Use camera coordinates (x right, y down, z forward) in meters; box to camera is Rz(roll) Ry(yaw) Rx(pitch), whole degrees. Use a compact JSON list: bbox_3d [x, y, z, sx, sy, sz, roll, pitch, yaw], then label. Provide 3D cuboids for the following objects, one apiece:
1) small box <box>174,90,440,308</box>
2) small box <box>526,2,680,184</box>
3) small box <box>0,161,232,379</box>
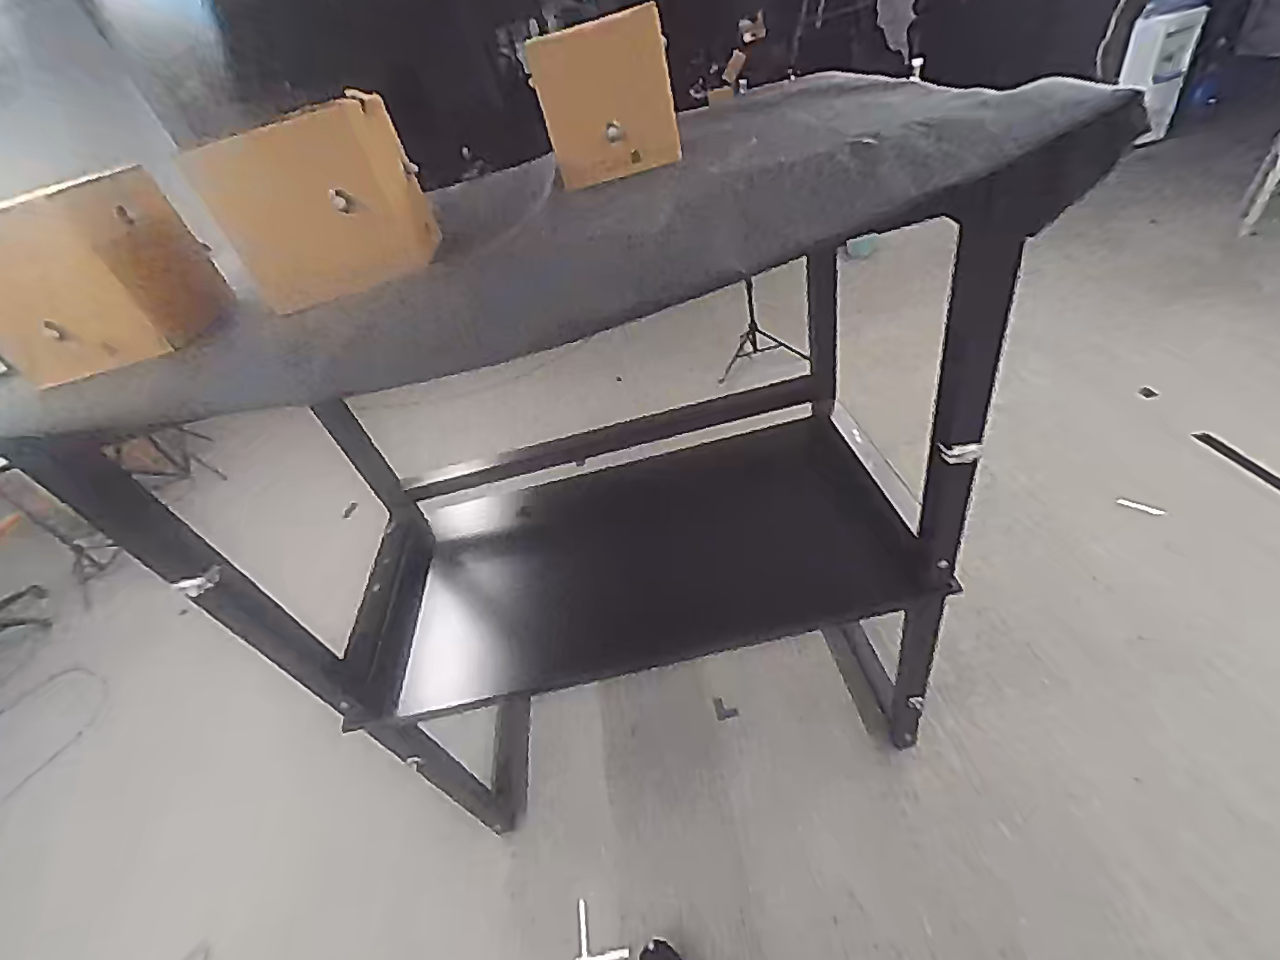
[{"bbox_3d":[-0.352,-0.322,0.620,0.179,0.176,0.168,-15,38,1],"label":"small box"},{"bbox_3d":[-0.046,-0.536,0.757,0.168,0.176,0.179,-13,40,6],"label":"small box"},{"bbox_3d":[-0.625,-0.242,0.623,0.168,0.176,0.179,-16,40,0],"label":"small box"}]
